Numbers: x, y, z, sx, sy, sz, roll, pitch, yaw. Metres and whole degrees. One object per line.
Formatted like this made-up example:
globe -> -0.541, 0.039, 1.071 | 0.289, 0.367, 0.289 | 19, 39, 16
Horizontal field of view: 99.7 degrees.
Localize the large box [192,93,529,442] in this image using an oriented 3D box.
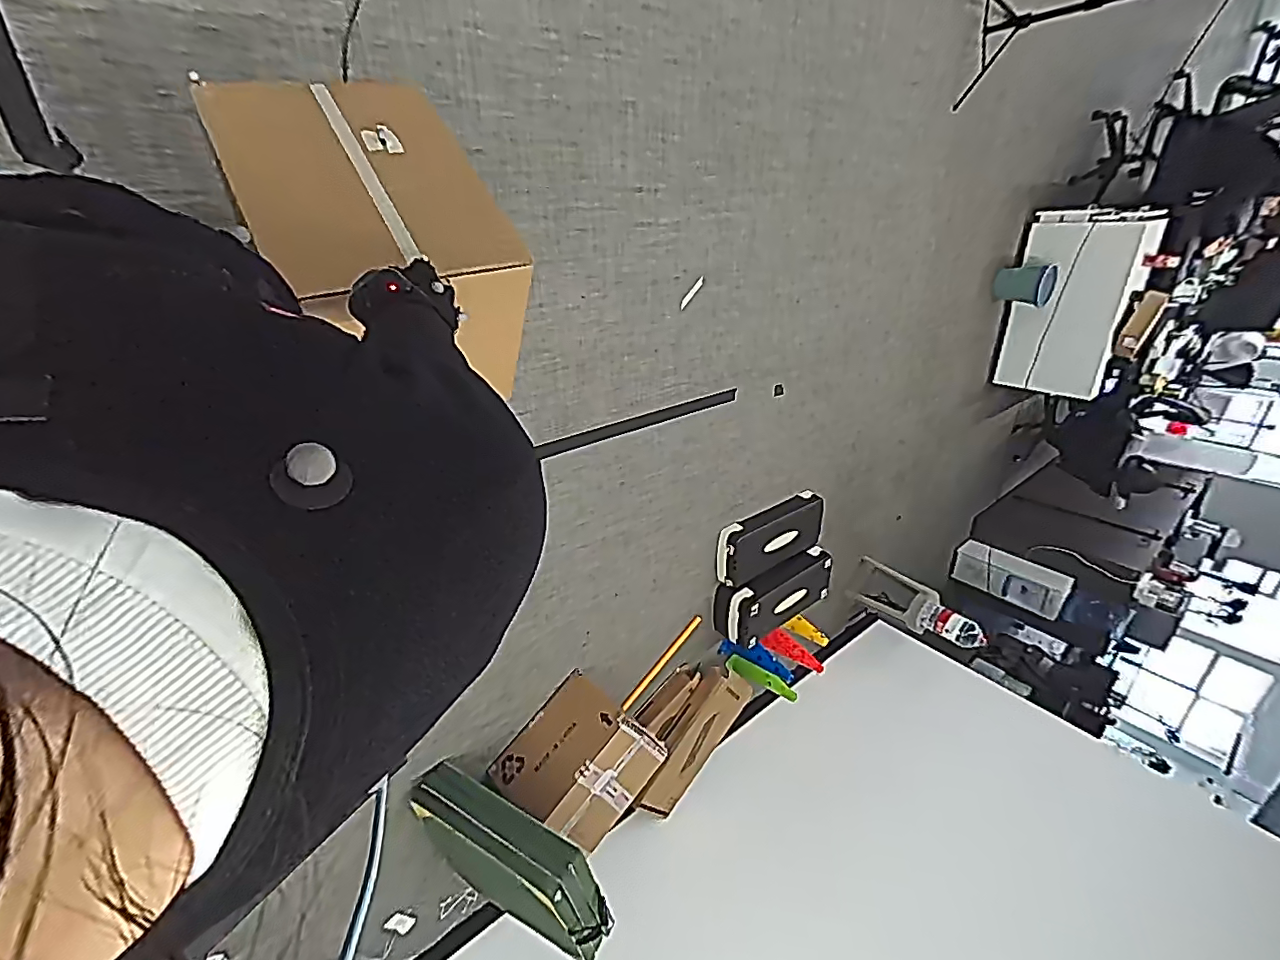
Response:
large box -> -0.423, -0.336, 0.869 | 0.320, 0.408, 0.320 | -22, 160, -31
